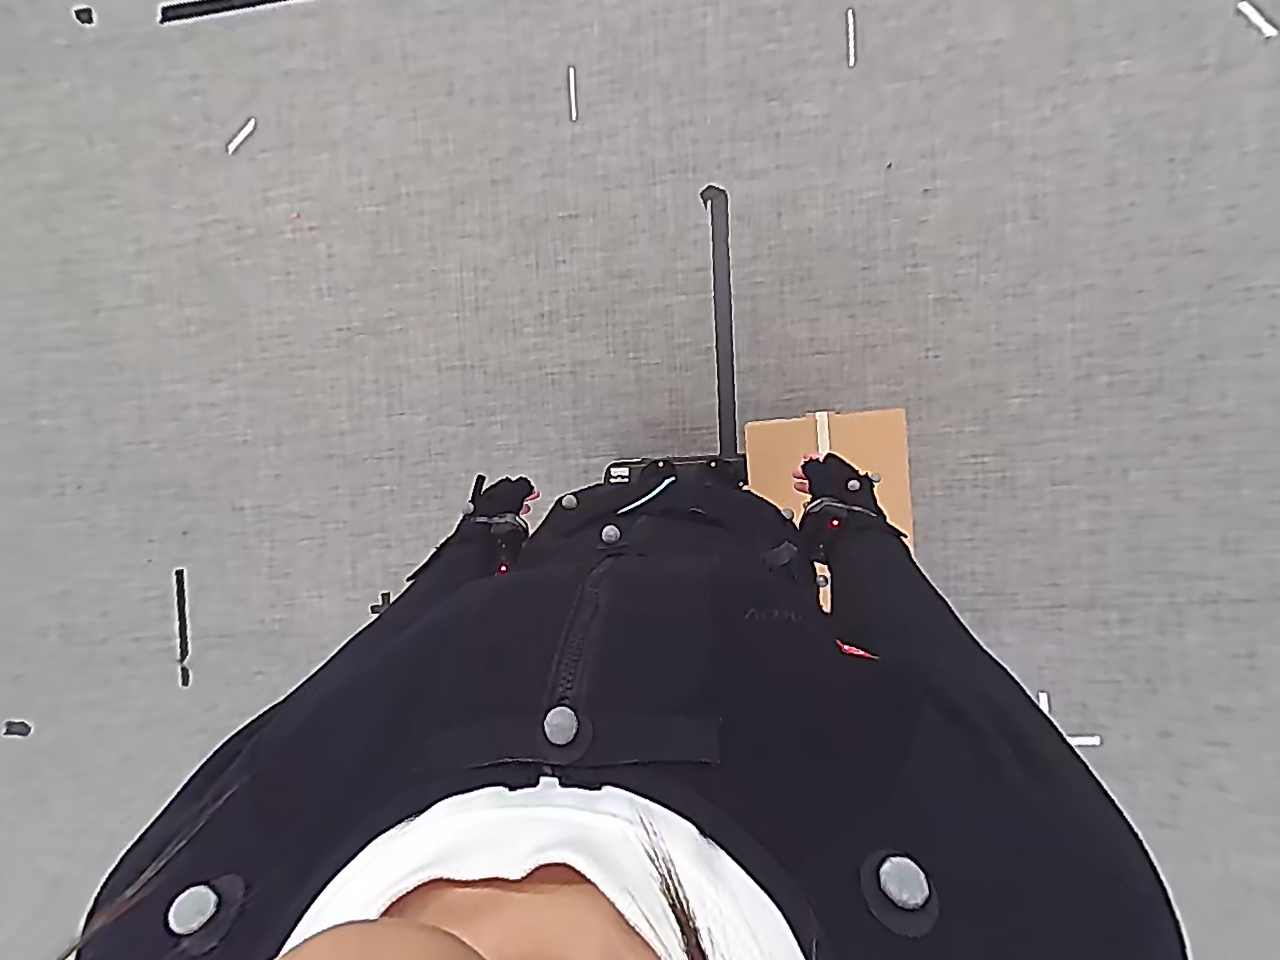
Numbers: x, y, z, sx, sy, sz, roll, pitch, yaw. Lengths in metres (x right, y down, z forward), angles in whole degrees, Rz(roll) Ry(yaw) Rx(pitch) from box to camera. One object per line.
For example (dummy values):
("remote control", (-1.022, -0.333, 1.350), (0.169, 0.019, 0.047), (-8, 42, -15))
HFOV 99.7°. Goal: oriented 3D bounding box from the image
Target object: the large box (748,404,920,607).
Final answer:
("large box", (0.425, 0.047, 1.247), (0.320, 0.320, 0.408), (-4, 94, 14))
